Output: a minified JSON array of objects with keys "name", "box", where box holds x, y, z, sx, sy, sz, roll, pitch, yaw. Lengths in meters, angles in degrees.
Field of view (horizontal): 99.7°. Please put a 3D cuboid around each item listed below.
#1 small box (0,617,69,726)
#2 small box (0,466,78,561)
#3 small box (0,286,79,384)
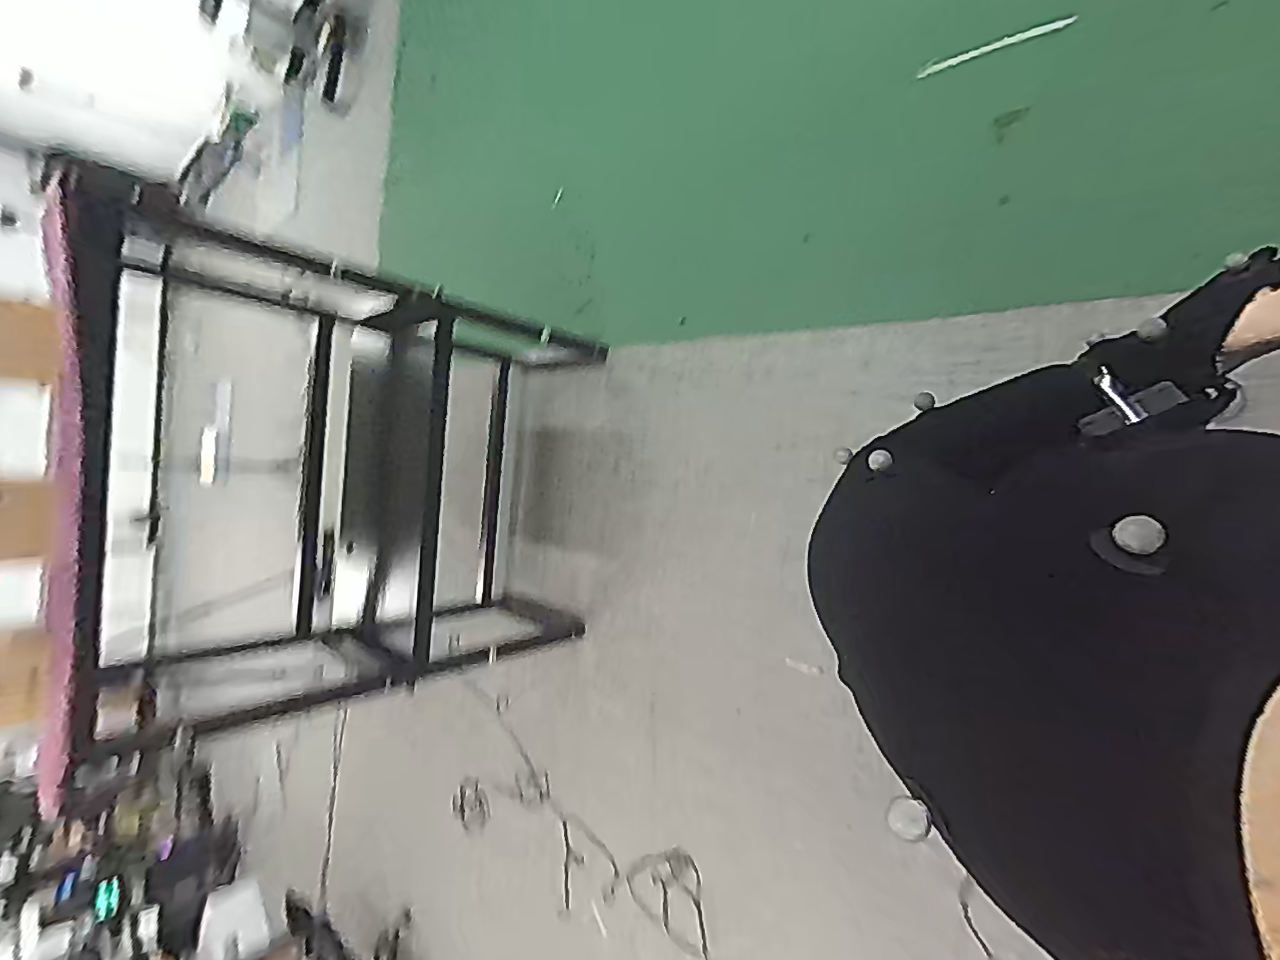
[{"name":"small box","box":[-1.271,0.383,1.081,0.179,0.176,0.168,5,91,40]},{"name":"small box","box":[-1.250,0.062,1.076,0.168,0.176,0.179,5,93,41]},{"name":"small box","box":[-1.242,-0.287,1.074,0.168,0.176,0.179,9,95,43]}]
